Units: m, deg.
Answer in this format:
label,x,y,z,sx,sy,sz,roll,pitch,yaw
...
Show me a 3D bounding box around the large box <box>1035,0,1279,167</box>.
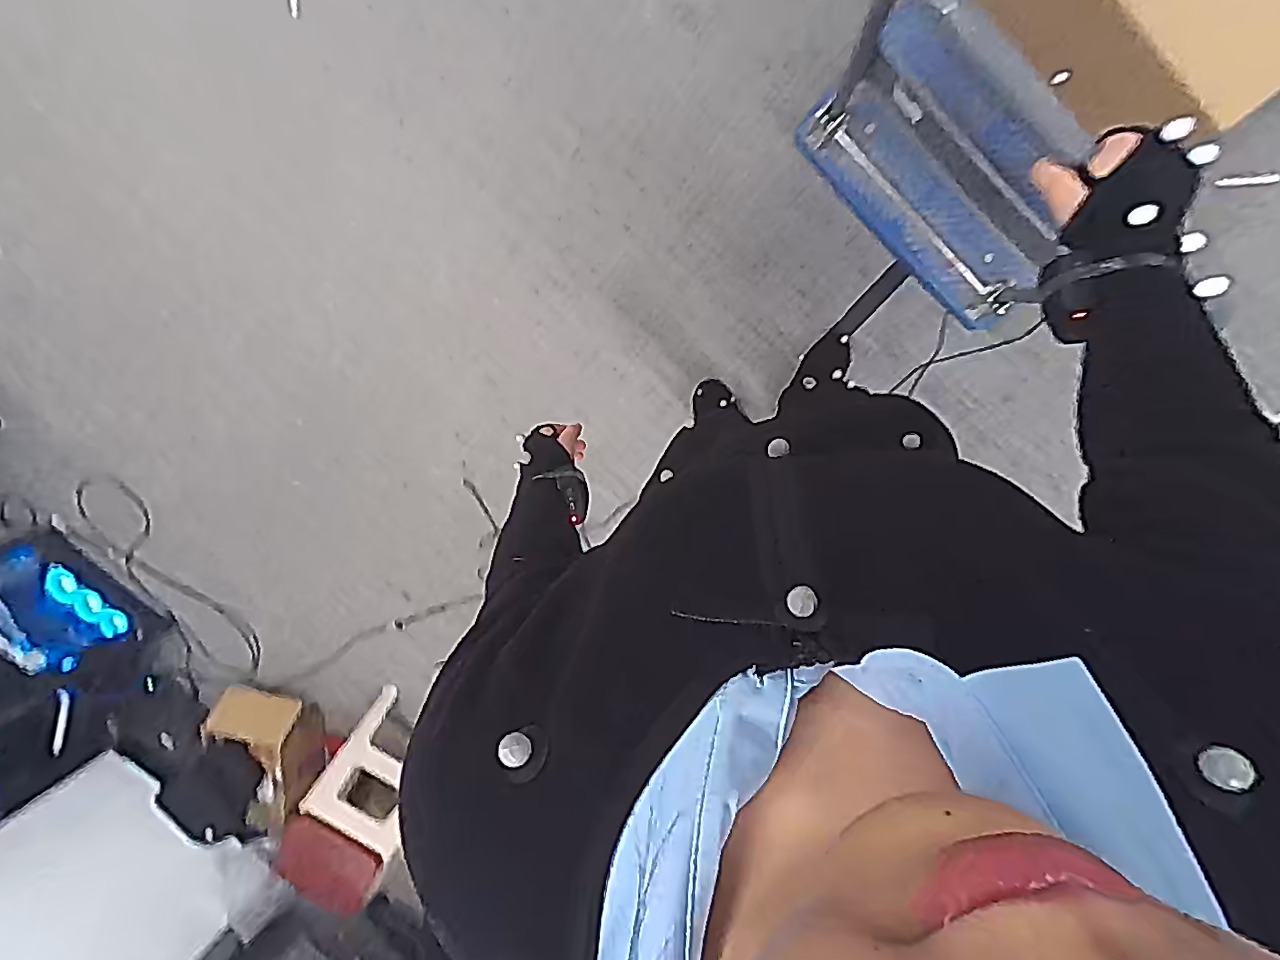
label,x,y,z,sx,sy,sz,roll,pitch,yaw
large box,0.869,-0.748,0.765,0.320,0.320,0.408,-37,97,20
